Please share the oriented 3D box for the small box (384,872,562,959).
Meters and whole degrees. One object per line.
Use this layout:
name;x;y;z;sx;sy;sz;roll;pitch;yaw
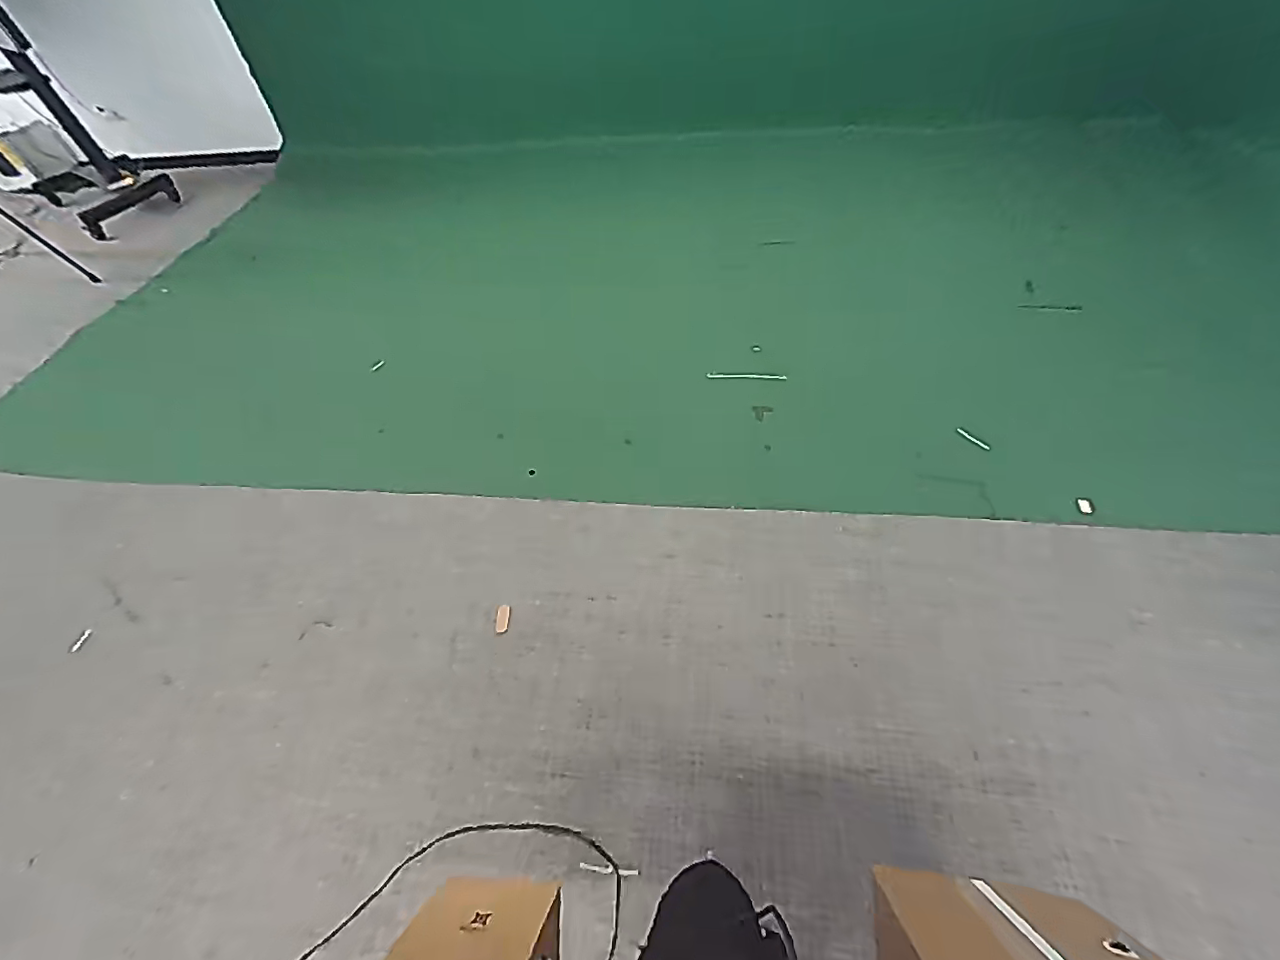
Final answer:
small box;-0.199;0.631;0.668;0.168;0.179;0.176;-1;85;7
